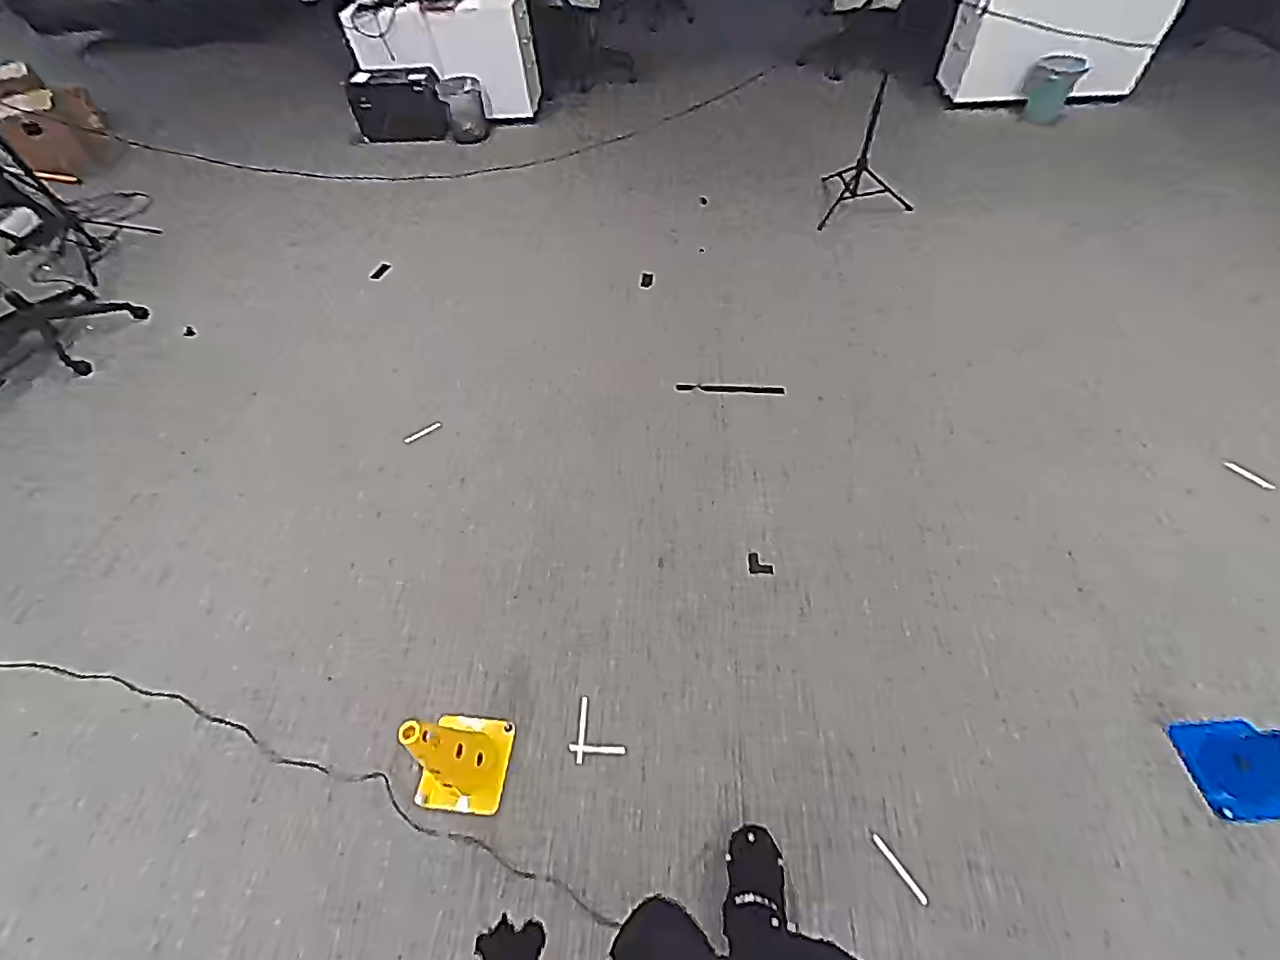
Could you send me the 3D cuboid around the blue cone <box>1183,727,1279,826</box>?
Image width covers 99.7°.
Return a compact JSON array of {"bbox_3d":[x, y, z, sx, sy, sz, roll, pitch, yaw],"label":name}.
[{"bbox_3d":[1.336,0.557,1.071,0.193,0.380,0.192,-3,54,2],"label":"blue cone"}]
